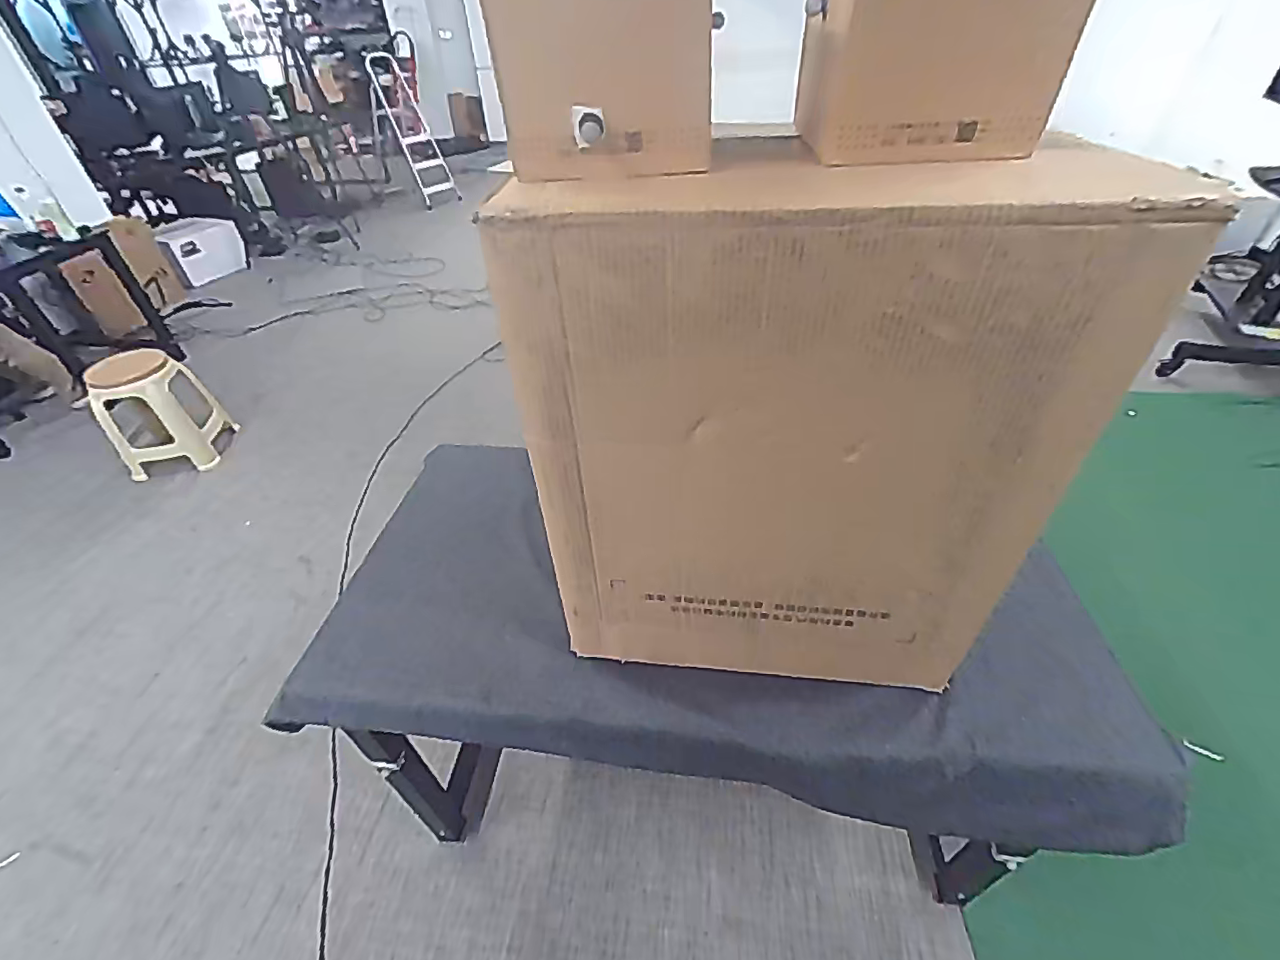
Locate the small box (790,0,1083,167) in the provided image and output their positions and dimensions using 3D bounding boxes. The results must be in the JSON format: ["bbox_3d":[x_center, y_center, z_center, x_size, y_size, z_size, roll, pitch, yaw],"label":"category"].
[{"bbox_3d":[0.226,-0.370,0.444,0.168,0.176,0.179,-1,42,5],"label":"small box"}]

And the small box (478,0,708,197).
[{"bbox_3d":[-0.028,-0.359,0.461,0.168,0.176,0.179,-3,44,6],"label":"small box"}]
